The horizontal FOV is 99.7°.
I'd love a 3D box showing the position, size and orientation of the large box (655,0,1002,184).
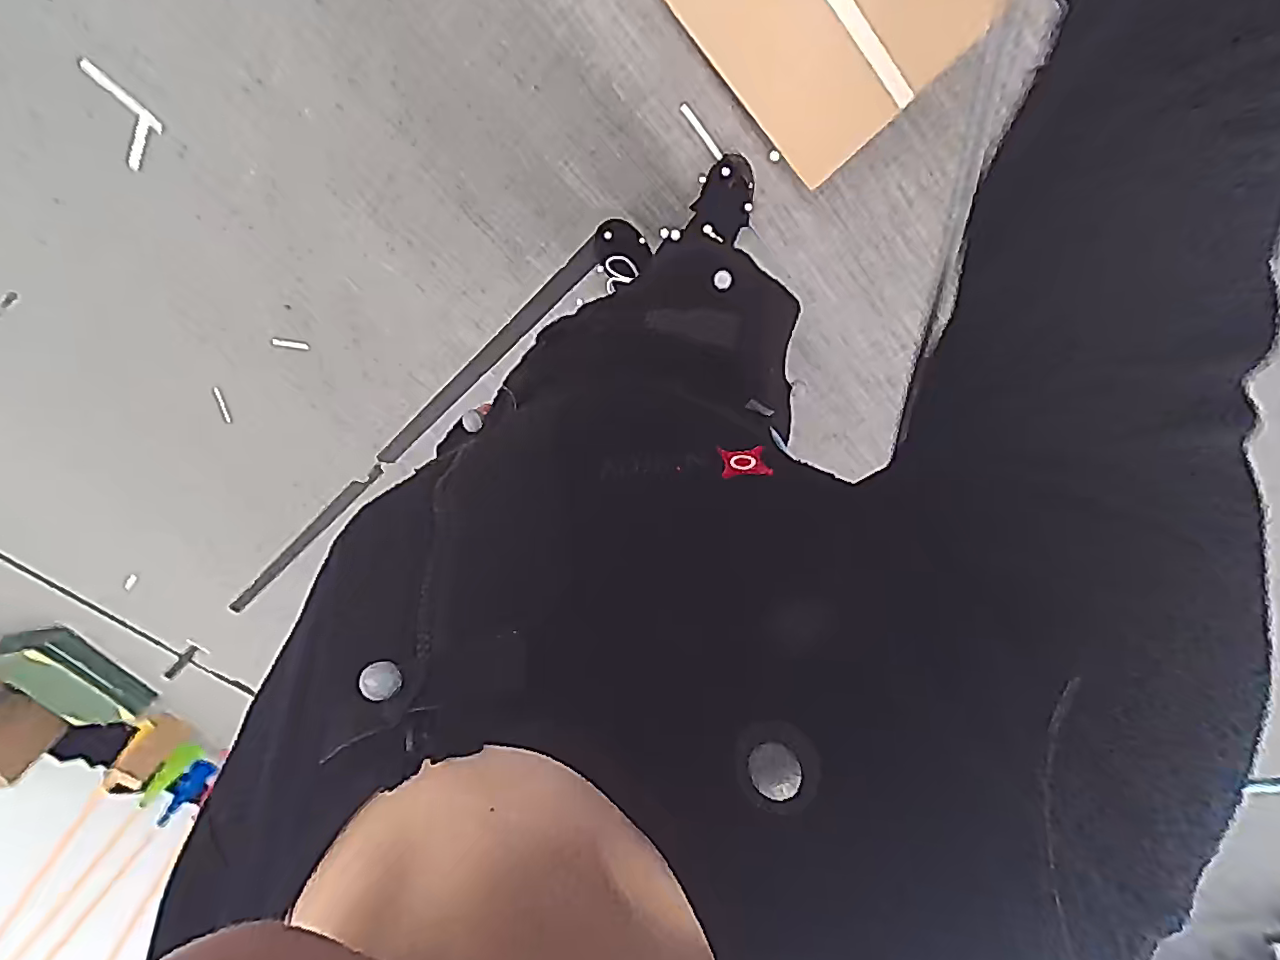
[{"bbox_3d":[0.241,-0.735,0.799,0.408,0.320,0.320,41,124,-19],"label":"large box"}]
